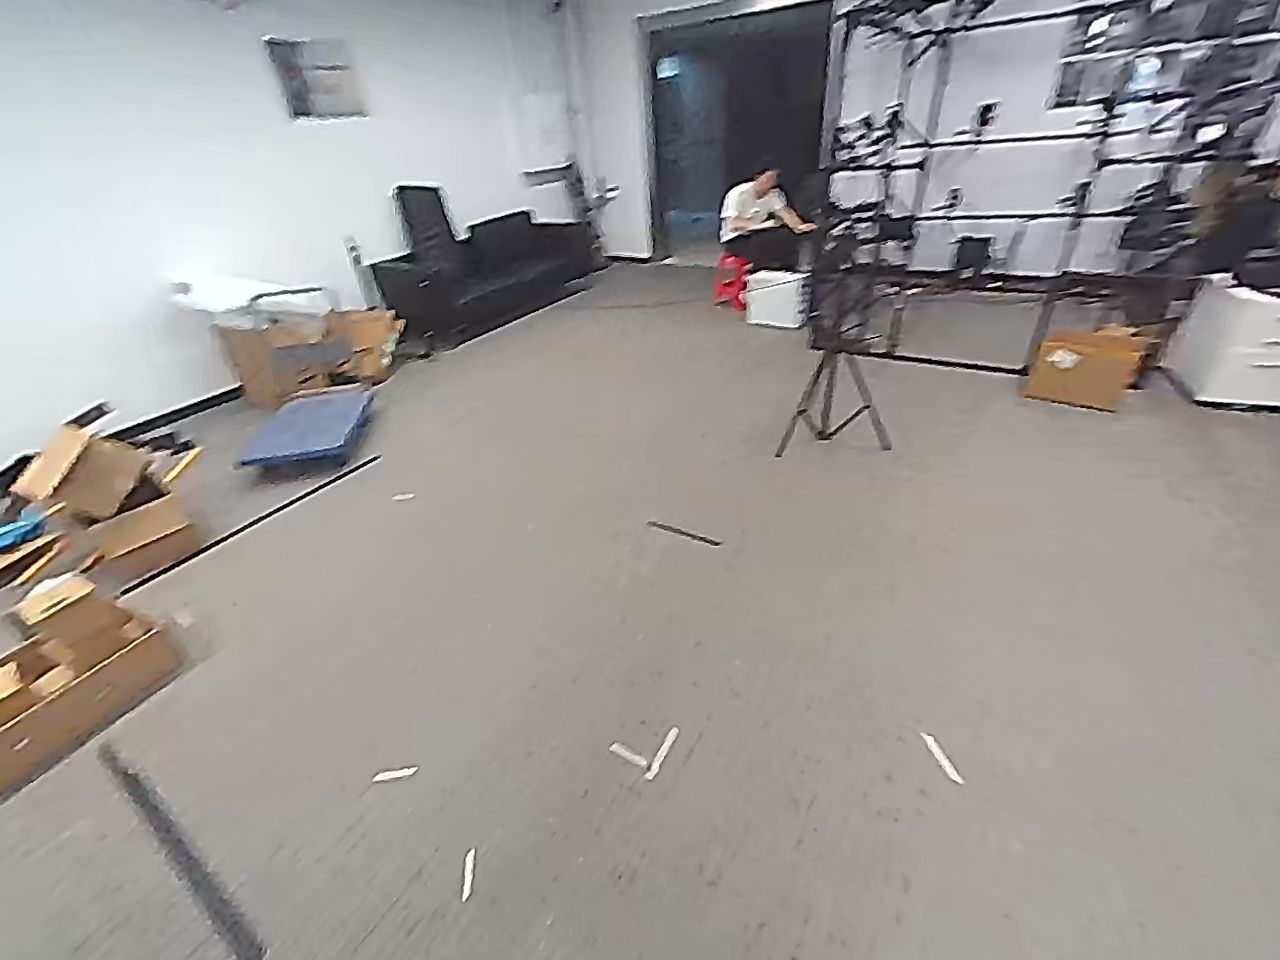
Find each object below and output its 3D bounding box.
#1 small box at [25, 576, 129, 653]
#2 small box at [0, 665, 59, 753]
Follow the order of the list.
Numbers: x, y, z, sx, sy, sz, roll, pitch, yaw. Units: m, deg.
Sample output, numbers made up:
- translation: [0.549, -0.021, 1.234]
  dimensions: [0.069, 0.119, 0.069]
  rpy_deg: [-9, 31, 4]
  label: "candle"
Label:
- translation: [-1.934, 0.466, 1.865]
  dimensions: [0.179, 0.176, 0.168]
  rpy_deg: [12, 37, 27]
  label: "small box"
- translation: [-2.059, 0.747, 1.760]
  dimensions: [0.179, 0.176, 0.168]
  rpy_deg: [20, 40, 34]
  label: "small box"
